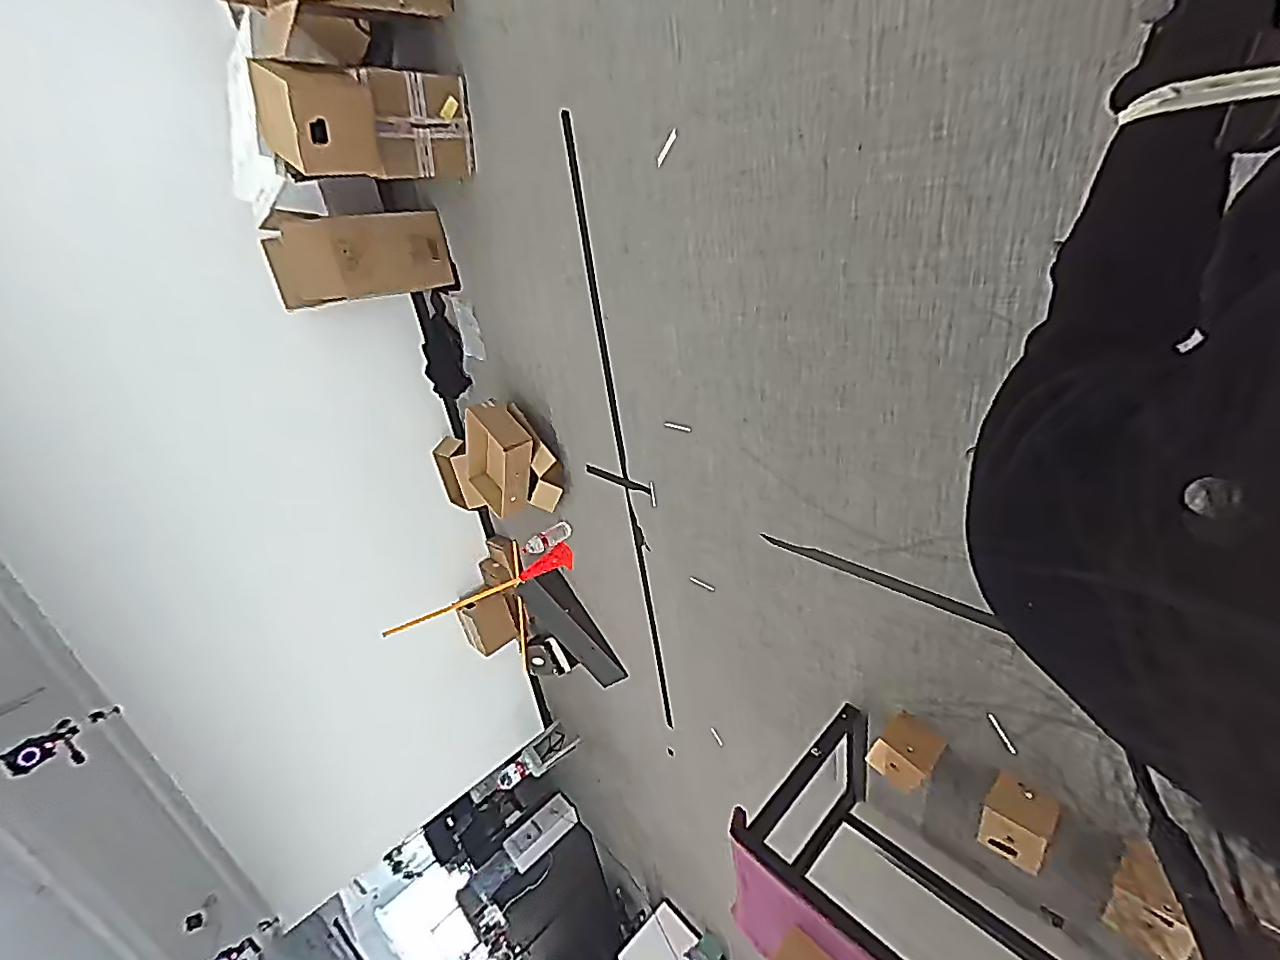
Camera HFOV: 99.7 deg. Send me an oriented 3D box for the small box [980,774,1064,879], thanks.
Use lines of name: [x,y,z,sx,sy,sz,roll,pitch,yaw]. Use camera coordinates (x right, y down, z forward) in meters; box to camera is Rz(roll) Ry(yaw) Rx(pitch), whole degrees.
small box: [1.195,1.076,1.690,0.168,0.176,0.179,18,125,45]

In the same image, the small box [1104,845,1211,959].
small box: [1.409,1.158,1.472,0.168,0.176,0.179,20,129,44]

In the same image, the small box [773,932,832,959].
small box: [0.488,1.494,1.597,0.179,0.176,0.168,21,129,43]

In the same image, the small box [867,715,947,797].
small box: [0.955,0.977,1.936,0.179,0.176,0.168,34,136,32]
